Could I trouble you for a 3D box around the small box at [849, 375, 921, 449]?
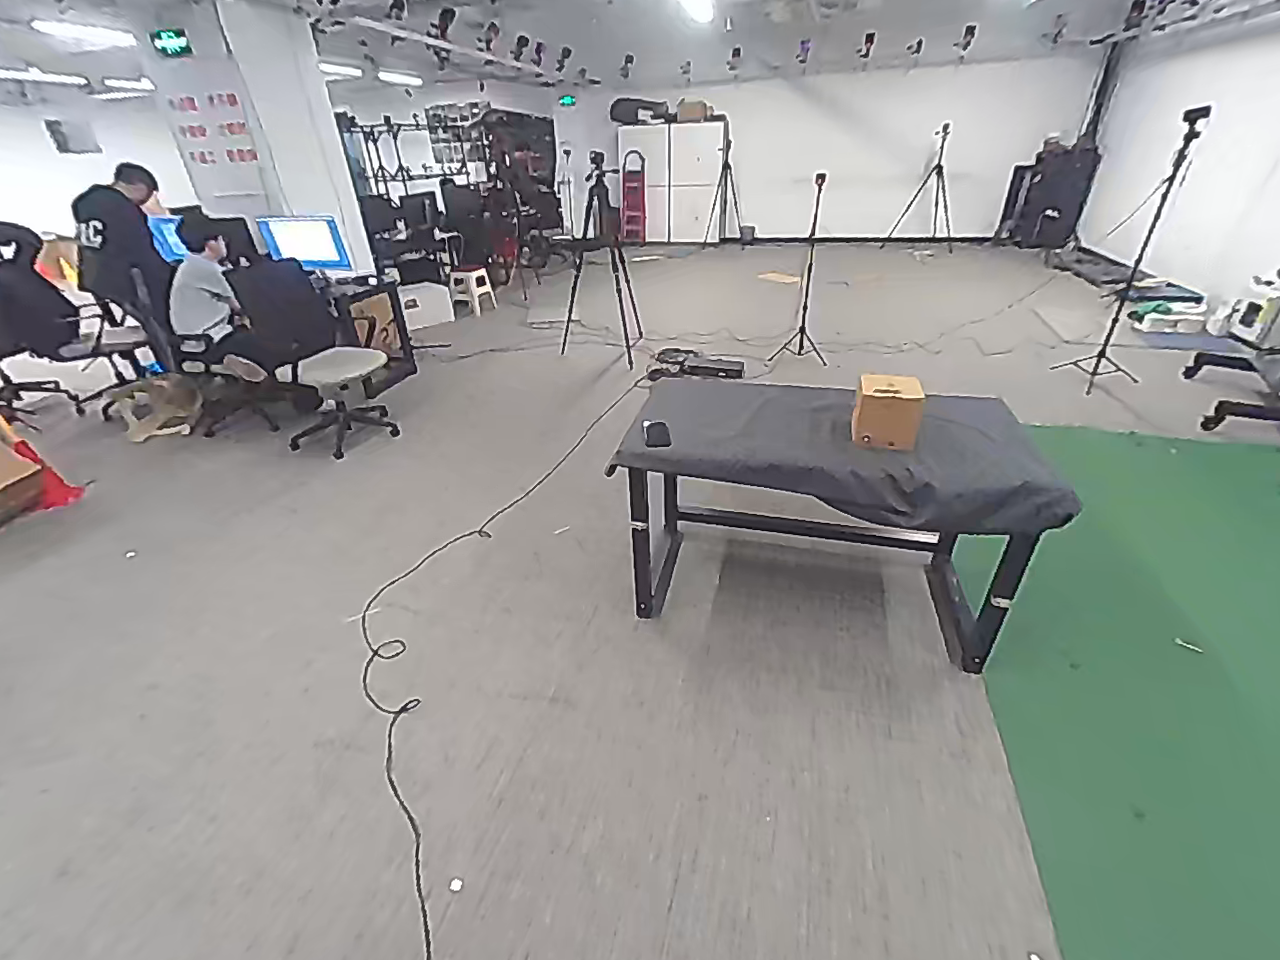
[{"bbox_3d":[0.736,-0.206,1.639,0.168,0.176,0.179,7,31,15],"label":"small box"}]
